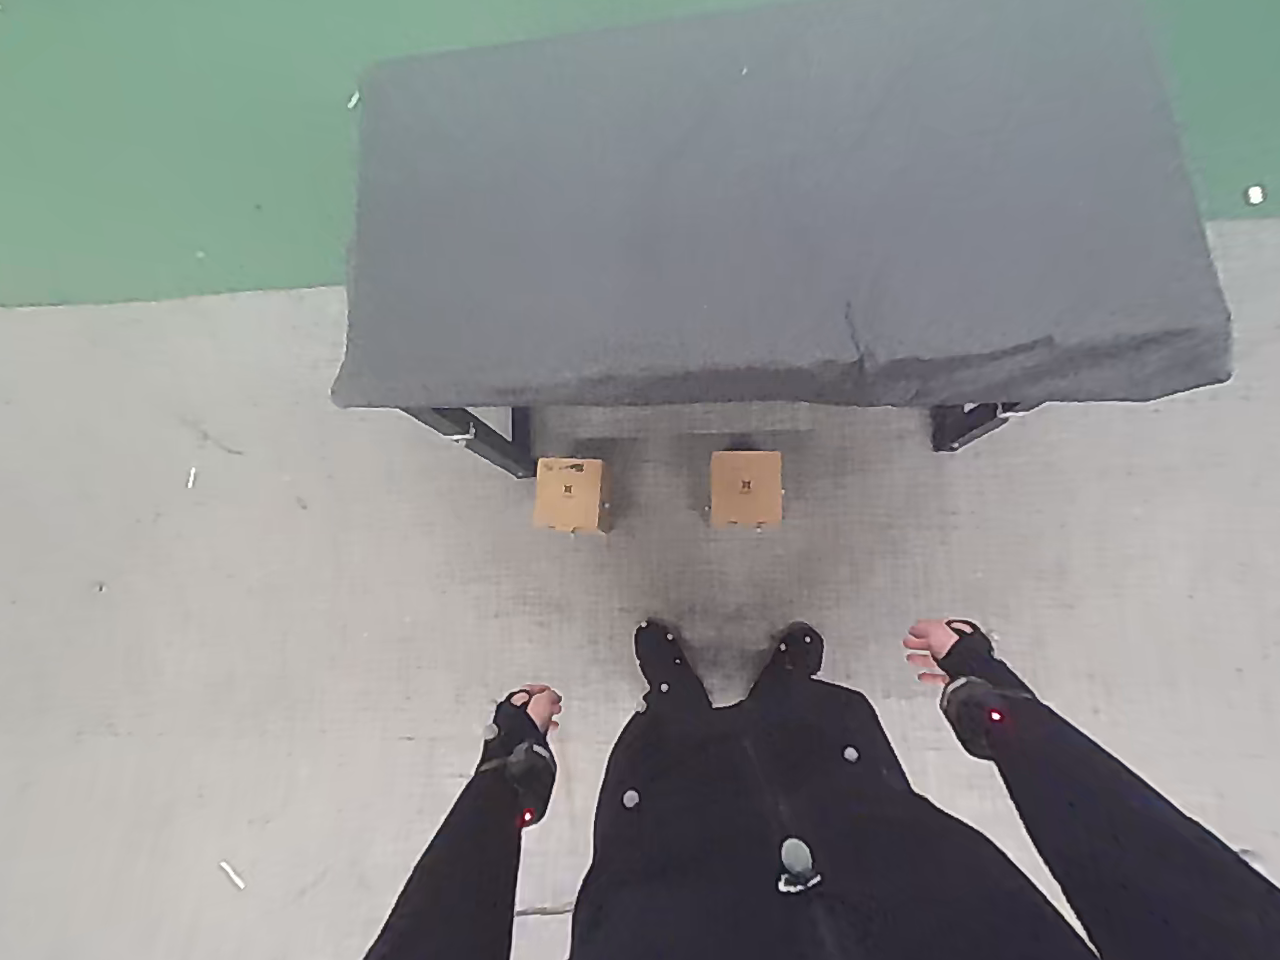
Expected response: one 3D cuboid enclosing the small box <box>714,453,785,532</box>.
[{"bbox_3d":[0.273,0.037,1.367,0.168,0.176,0.179,0,77,6],"label":"small box"}]
